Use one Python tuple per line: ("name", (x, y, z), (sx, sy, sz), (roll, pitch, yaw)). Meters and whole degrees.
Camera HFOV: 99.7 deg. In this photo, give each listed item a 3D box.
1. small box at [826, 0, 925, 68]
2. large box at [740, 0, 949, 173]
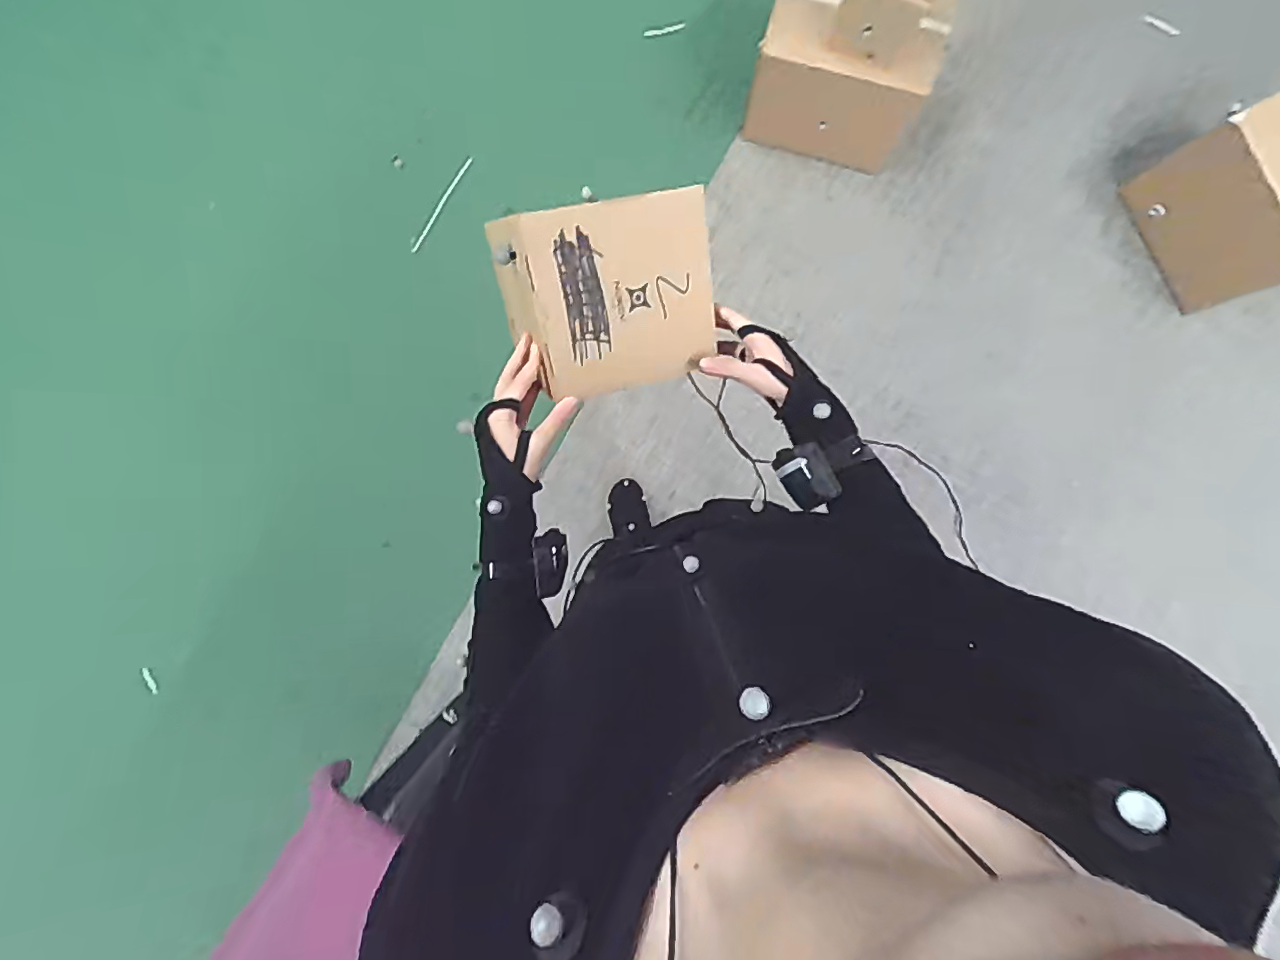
("small box", (0.516, -1.036, 1.149), (0.168, 0.176, 0.179), (21, 89, 1))
("large box", (0.507, -1.065, 1.397), (0.408, 0.320, 0.320), (16, 88, 3))
